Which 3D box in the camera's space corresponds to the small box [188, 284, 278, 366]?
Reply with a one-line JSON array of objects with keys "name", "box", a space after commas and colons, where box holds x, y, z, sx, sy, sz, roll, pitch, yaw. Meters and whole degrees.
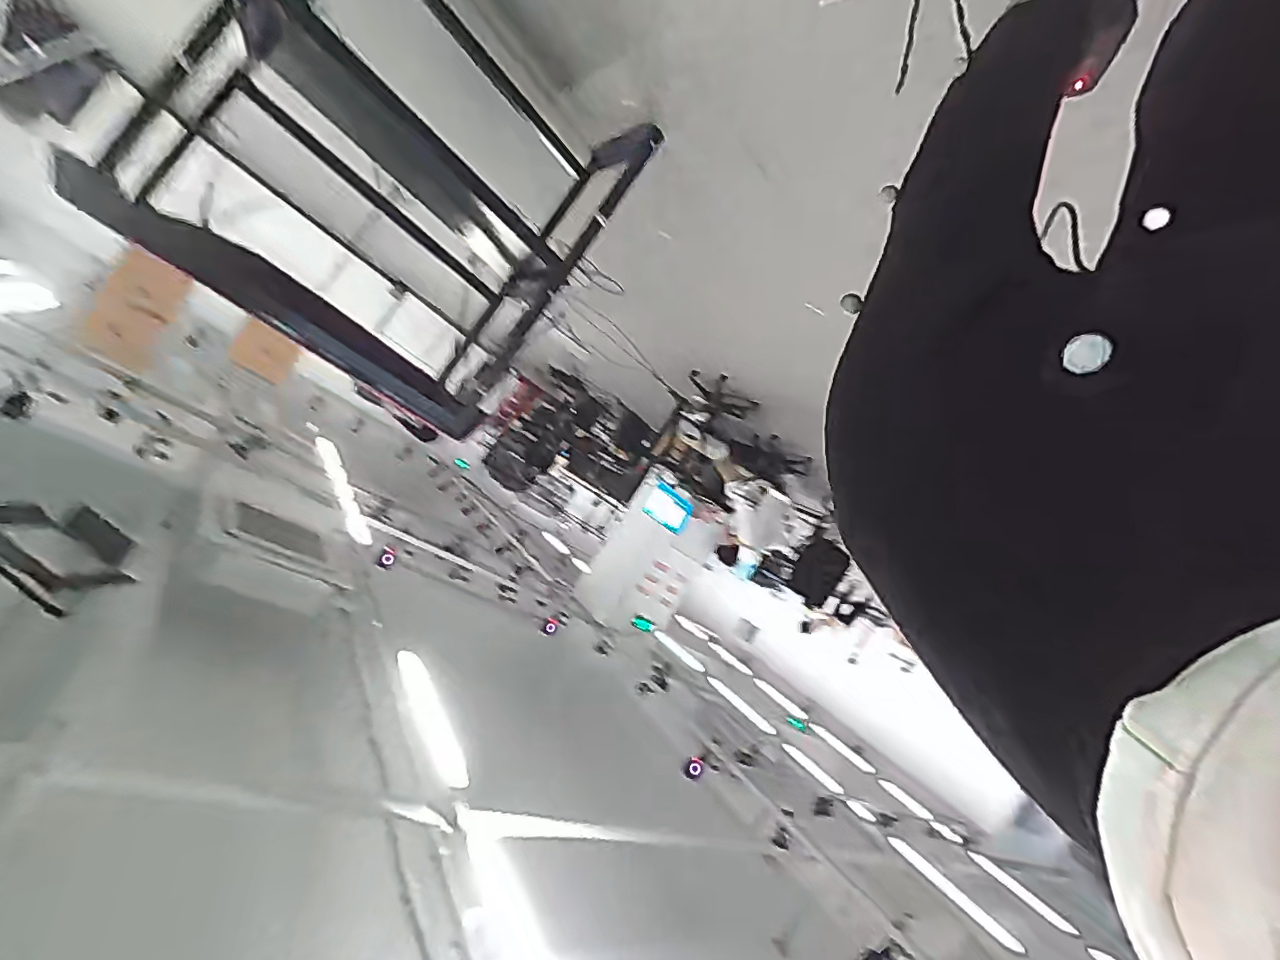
[{"name": "small box", "box": [-1.288, -0.494, 1.717, 0.179, 0.176, 0.168, 36, 176, -42]}]

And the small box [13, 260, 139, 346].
[{"name": "small box", "box": [-1.574, -0.502, 1.520, 0.179, 0.176, 0.168, 34, 178, -37]}]

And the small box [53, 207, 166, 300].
[{"name": "small box", "box": [-1.485, -0.640, 1.529, 0.168, 0.176, 0.179, 31, 176, 47]}]
